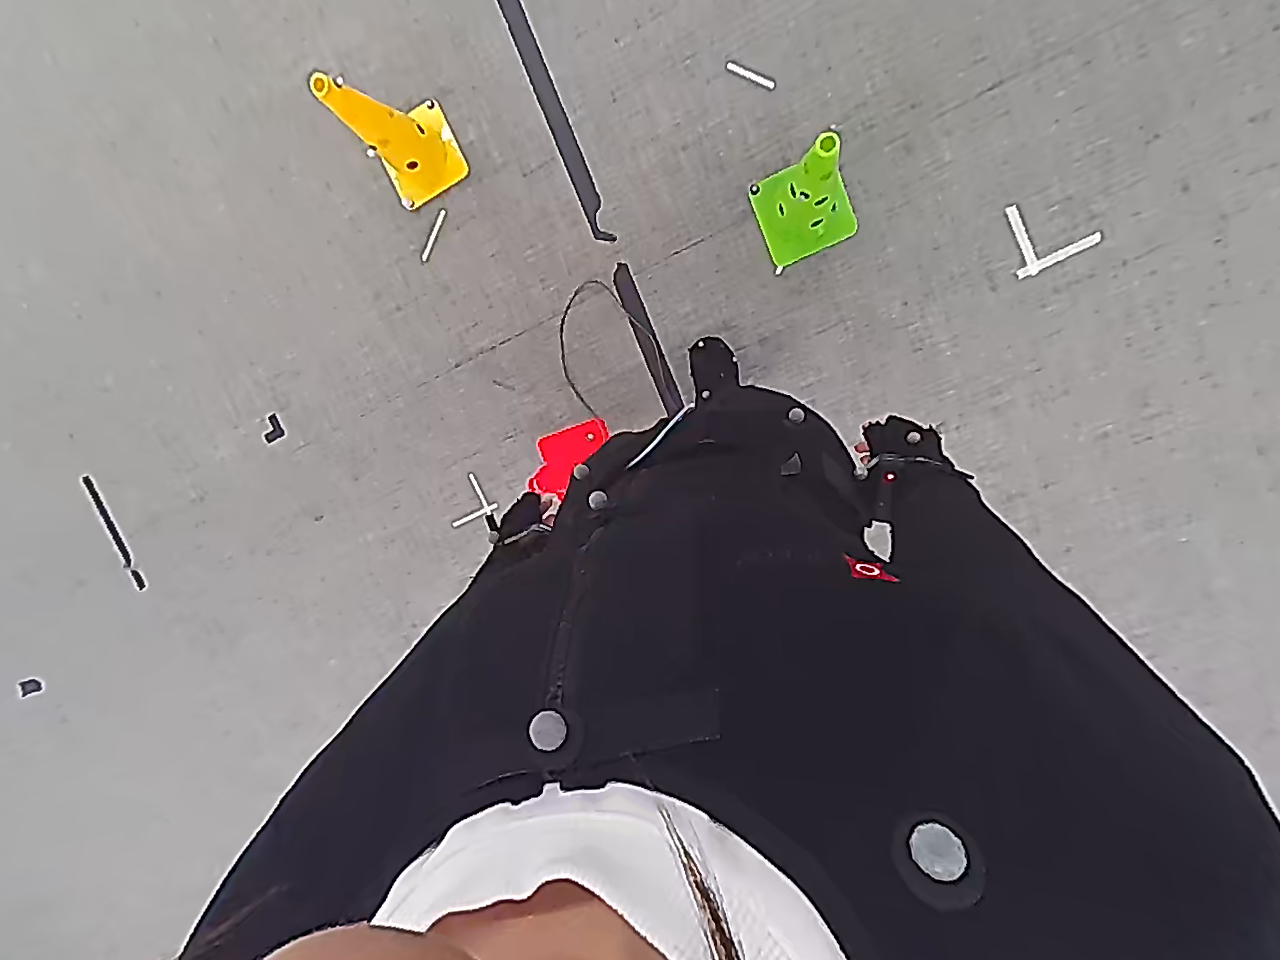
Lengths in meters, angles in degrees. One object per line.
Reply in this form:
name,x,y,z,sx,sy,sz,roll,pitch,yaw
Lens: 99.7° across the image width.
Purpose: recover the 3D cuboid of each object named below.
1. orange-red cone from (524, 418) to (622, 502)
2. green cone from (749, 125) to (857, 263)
orange-red cone,-0.191,-0.023,1.280,0.199,0.360,0.198,-17,96,13
green cone,0.348,-0.598,1.079,0.202,0.368,0.200,-22,96,12
